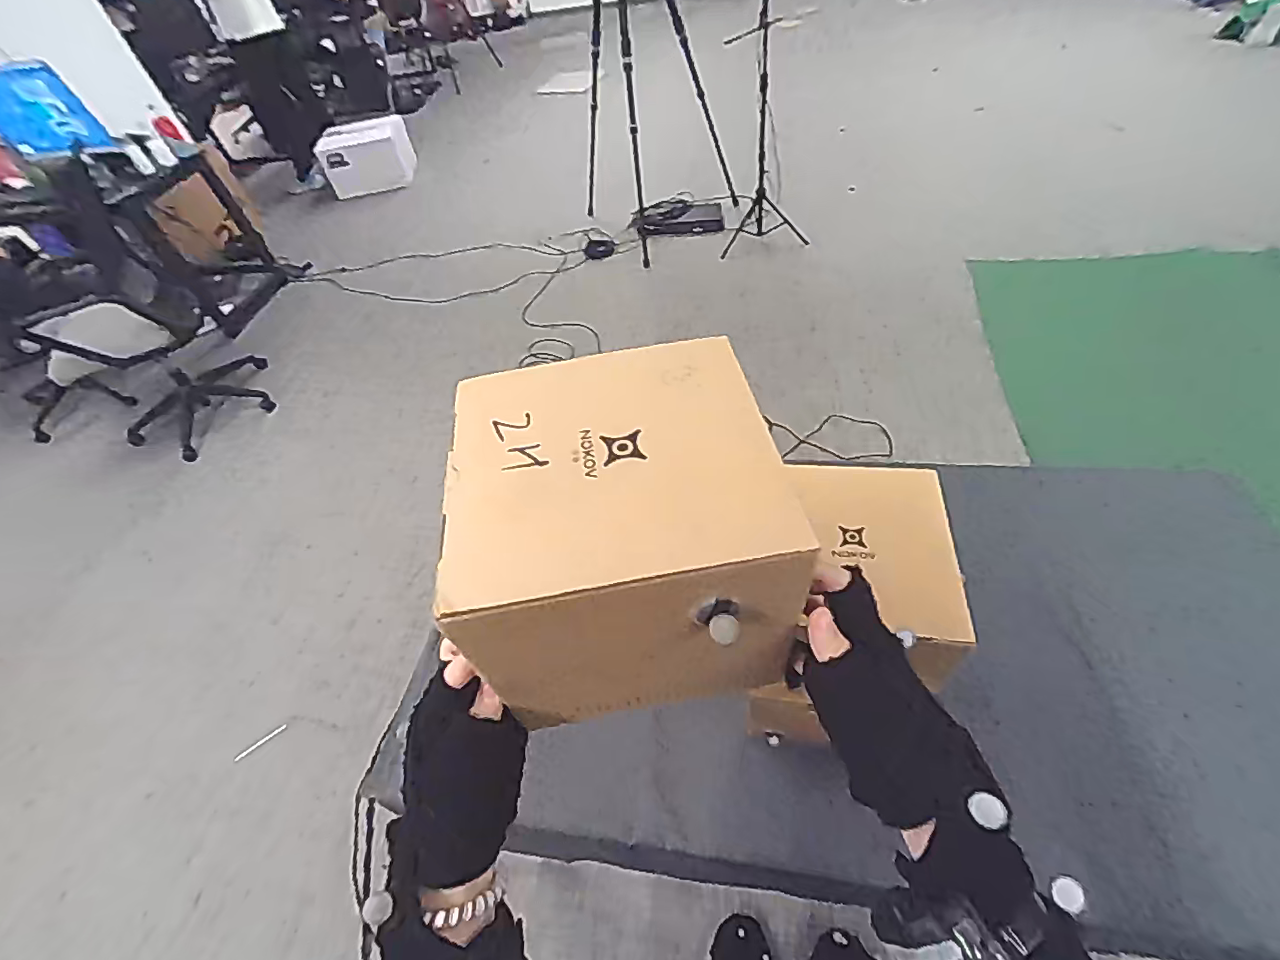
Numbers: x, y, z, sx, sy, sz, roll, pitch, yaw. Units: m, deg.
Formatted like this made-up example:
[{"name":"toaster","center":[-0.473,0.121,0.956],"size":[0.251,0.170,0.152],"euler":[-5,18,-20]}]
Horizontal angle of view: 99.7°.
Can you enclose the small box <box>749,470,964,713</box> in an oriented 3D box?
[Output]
[{"name":"small box","center":[0.193,0.110,0.542],"size":[0.168,0.176,0.179],"euler":[2,51,12]}]

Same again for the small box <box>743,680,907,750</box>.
[{"name":"small box","center":[0.214,0.214,0.665],"size":[0.168,0.176,0.179],"euler":[2,50,11]}]

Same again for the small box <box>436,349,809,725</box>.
[{"name":"small box","center":[-0.011,0.042,0.357],"size":[0.179,0.176,0.168],"euler":[-10,49,-1]}]
